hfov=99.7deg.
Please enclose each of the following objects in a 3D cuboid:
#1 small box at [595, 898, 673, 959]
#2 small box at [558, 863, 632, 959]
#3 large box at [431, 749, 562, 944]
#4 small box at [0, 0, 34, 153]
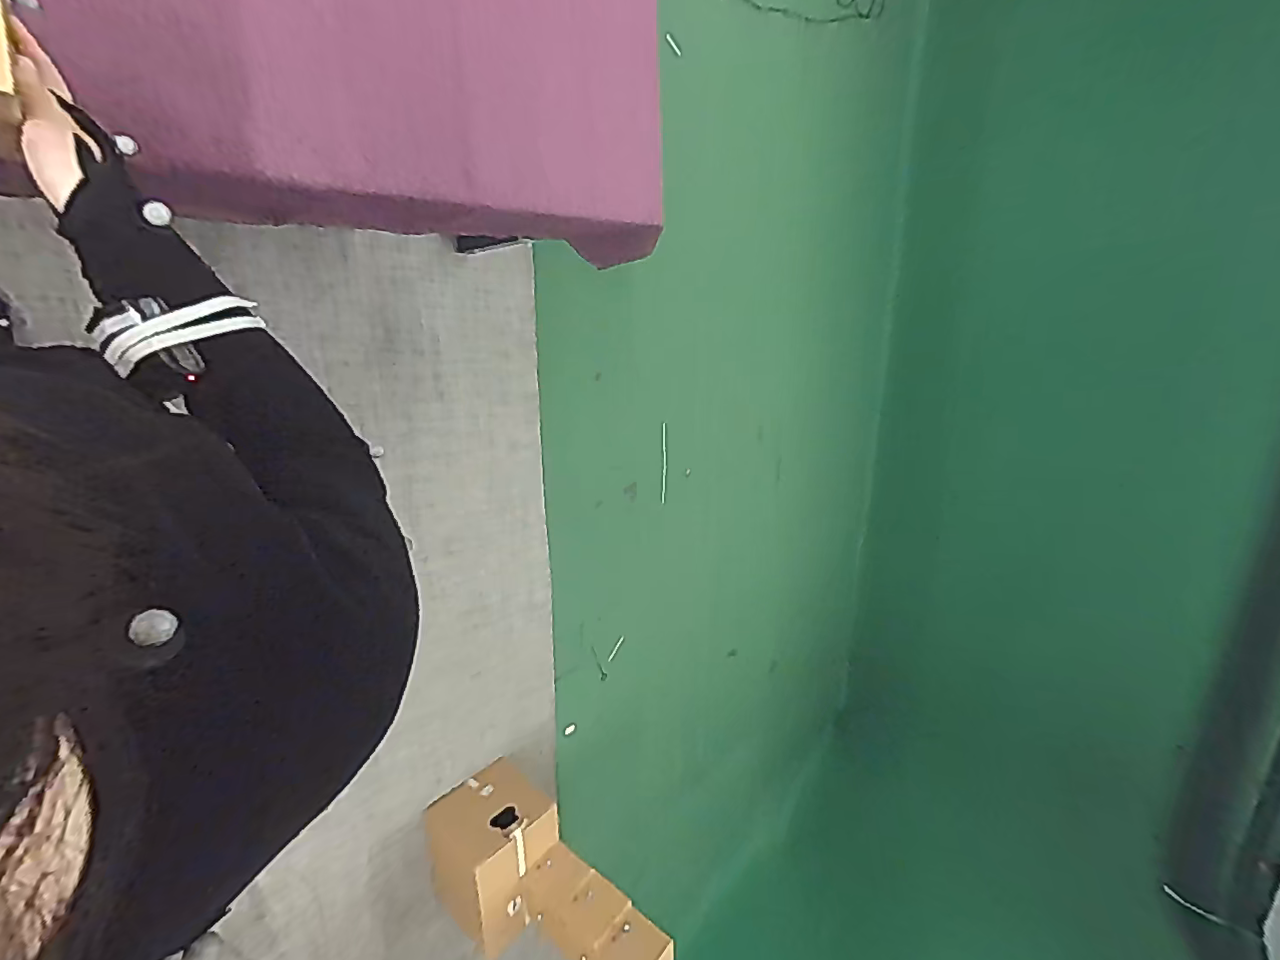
[{"bbox_3d":[-0.020,1.403,1.596,0.168,0.176,0.179,-18,112,-48],"label":"small box"},{"bbox_3d":[-0.140,1.367,1.700,0.168,0.176,0.179,-20,114,-47],"label":"small box"},{"bbox_3d":[-0.496,1.254,1.891,0.320,0.320,0.408,-18,115,-44],"label":"large box"},{"bbox_3d":[-0.465,-0.313,0.293,0.168,0.176,0.179,-8,106,-45],"label":"small box"}]
